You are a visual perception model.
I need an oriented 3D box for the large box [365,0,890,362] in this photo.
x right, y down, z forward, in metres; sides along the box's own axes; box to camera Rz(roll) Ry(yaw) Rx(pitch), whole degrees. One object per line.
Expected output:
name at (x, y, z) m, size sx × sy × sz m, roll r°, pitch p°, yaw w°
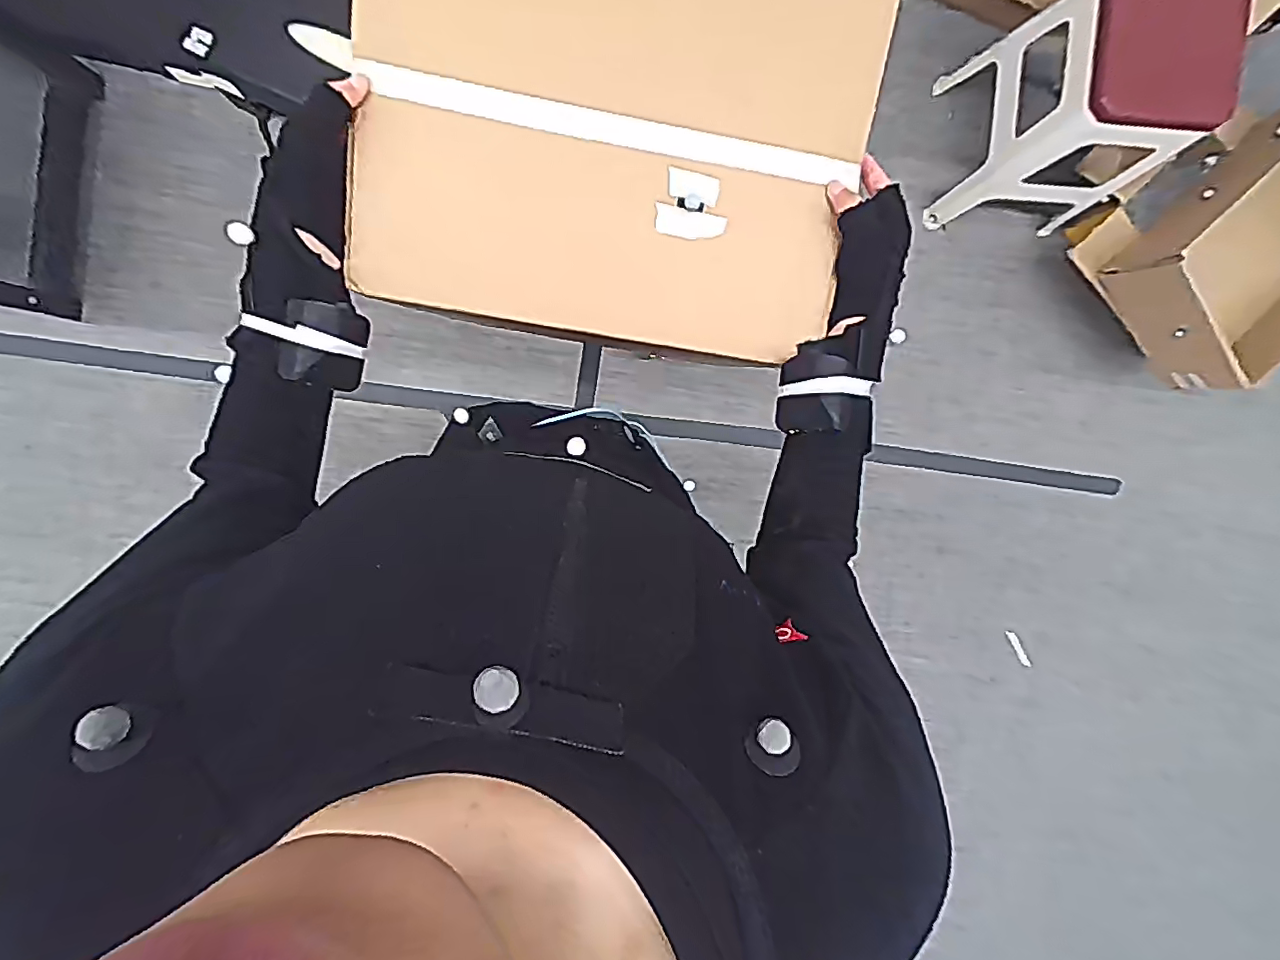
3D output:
large box at (-0.028, -0.313, 0.587) m, size 0.408 × 0.320 × 0.320 m, roll 8°, pitch 103°, yaw -7°
